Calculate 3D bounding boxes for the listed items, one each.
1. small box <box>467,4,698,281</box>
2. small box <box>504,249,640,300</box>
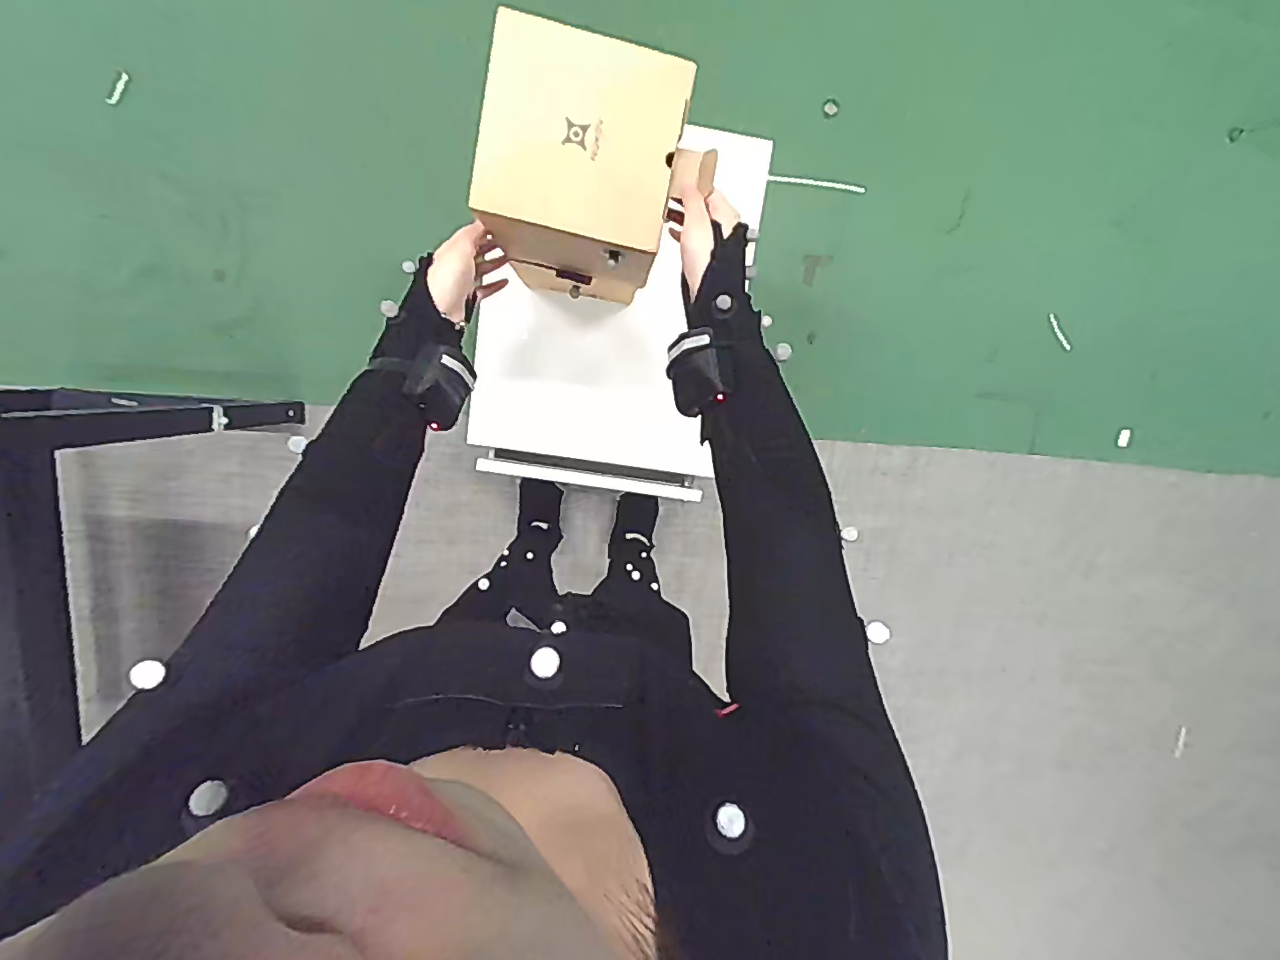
[{"bbox_3d":[-0.056,-0.313,0.545,0.179,0.176,0.168,11,99,-7],"label":"small box"},{"bbox_3d":[-0.071,-0.344,0.704,0.168,0.176,0.179,8,100,-6],"label":"small box"}]
